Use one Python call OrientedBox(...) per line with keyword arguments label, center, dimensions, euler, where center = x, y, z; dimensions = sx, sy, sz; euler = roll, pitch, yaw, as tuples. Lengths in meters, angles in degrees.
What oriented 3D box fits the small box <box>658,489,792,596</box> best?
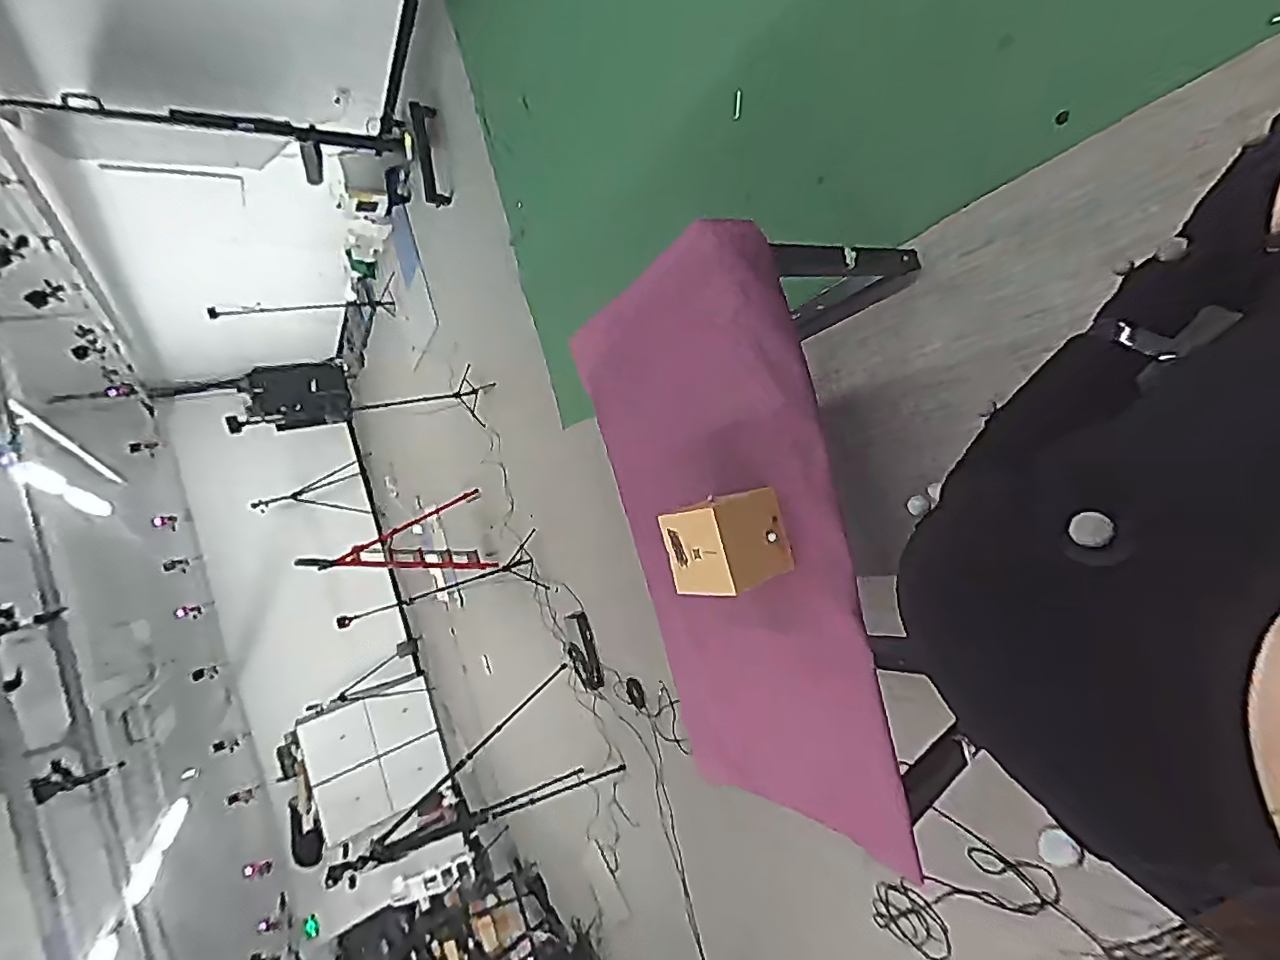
OrientedBox(label="small box", center=(0.166, 0.122, 1.068), dimensions=(0.179, 0.176, 0.168), euler=(-16, 89, 55))
